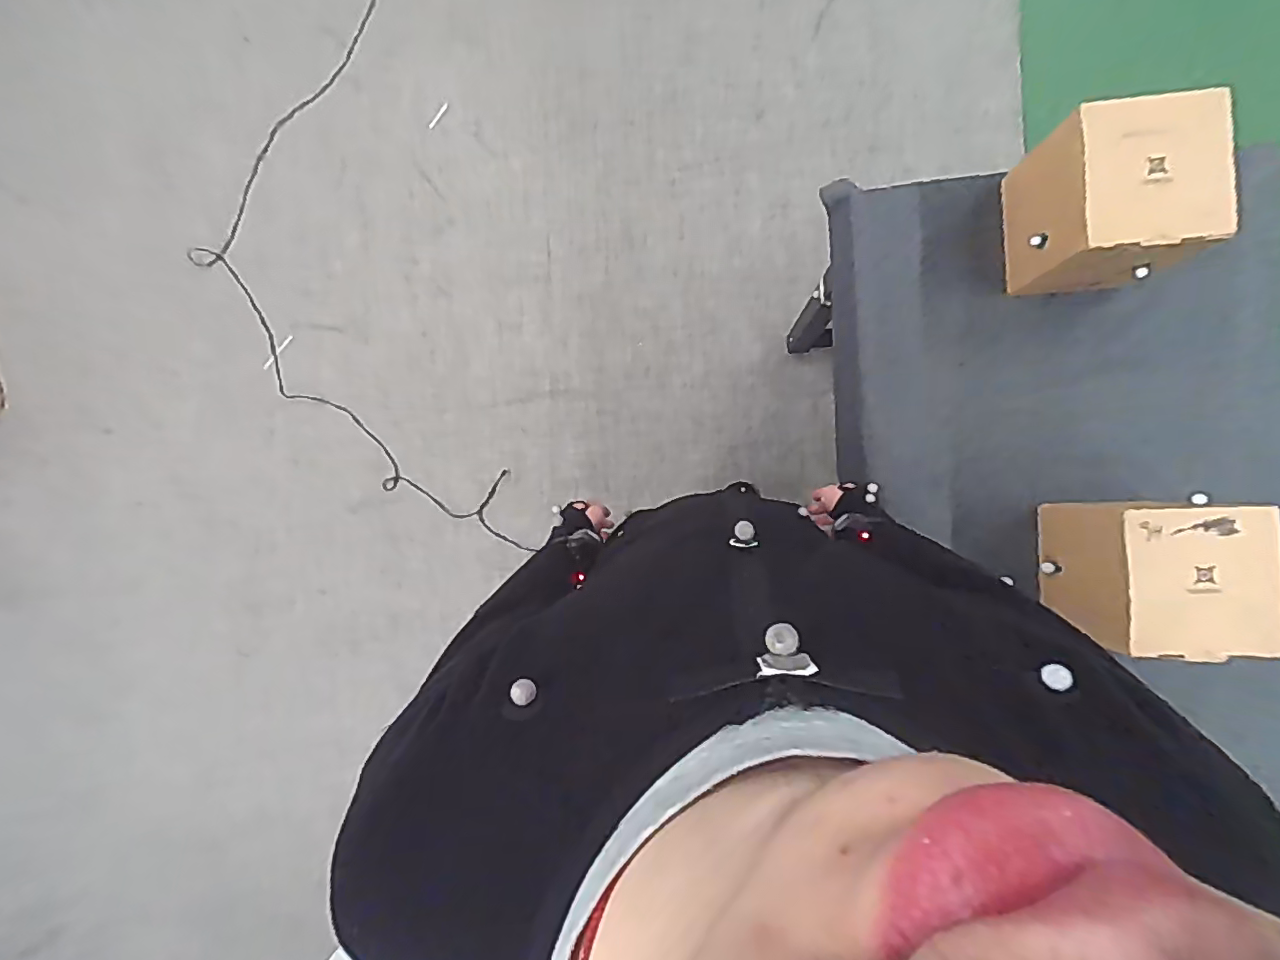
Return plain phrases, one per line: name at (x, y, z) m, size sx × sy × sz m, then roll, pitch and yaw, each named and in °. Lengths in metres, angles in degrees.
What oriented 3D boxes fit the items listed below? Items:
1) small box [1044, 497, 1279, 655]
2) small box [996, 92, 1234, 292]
small box at (0.668, 0.115, 0.706) m, size 0.168 × 0.176 × 0.179 m, roll -3°, pitch 89°, yaw 4°
small box at (0.611, -0.363, 0.718) m, size 0.168 × 0.176 × 0.179 m, roll -5°, pitch 88°, yaw 2°
